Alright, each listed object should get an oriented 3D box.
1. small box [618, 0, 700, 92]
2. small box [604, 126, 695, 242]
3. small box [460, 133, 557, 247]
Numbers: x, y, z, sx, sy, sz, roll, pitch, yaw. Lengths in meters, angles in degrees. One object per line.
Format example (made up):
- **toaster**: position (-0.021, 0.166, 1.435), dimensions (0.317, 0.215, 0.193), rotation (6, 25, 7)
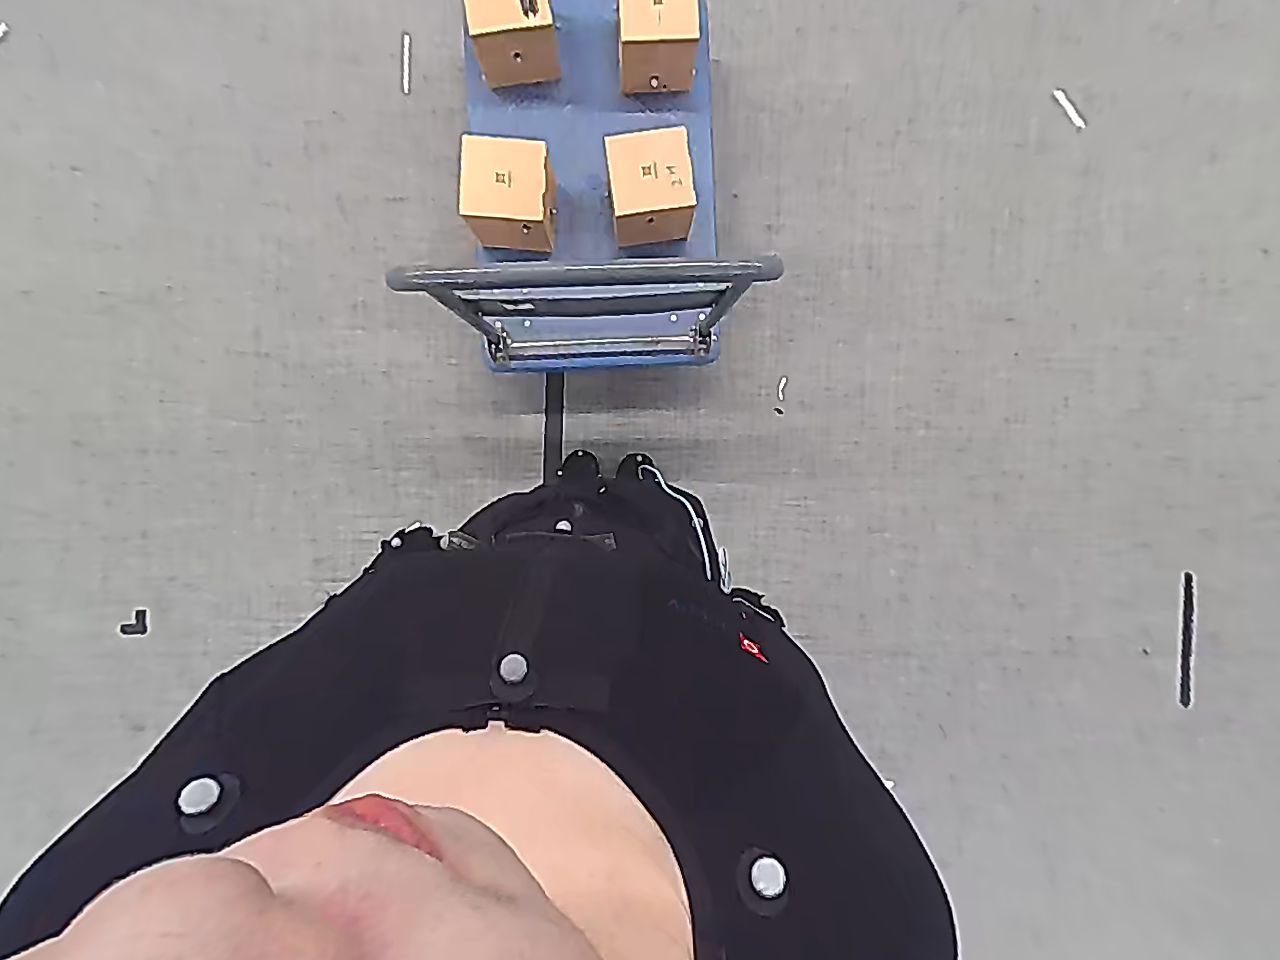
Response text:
- **small box**: position (0.037, -1.004, 1.195), dimensions (0.168, 0.176, 0.179), rotation (-3, 94, -2)
- **small box**: position (0.020, -0.651, 1.210), dimensions (0.179, 0.176, 0.168), rotation (-8, 93, -1)
- **small box**: position (-0.286, -0.634, 1.203), dimensions (0.179, 0.176, 0.168), rotation (3, 92, -3)
